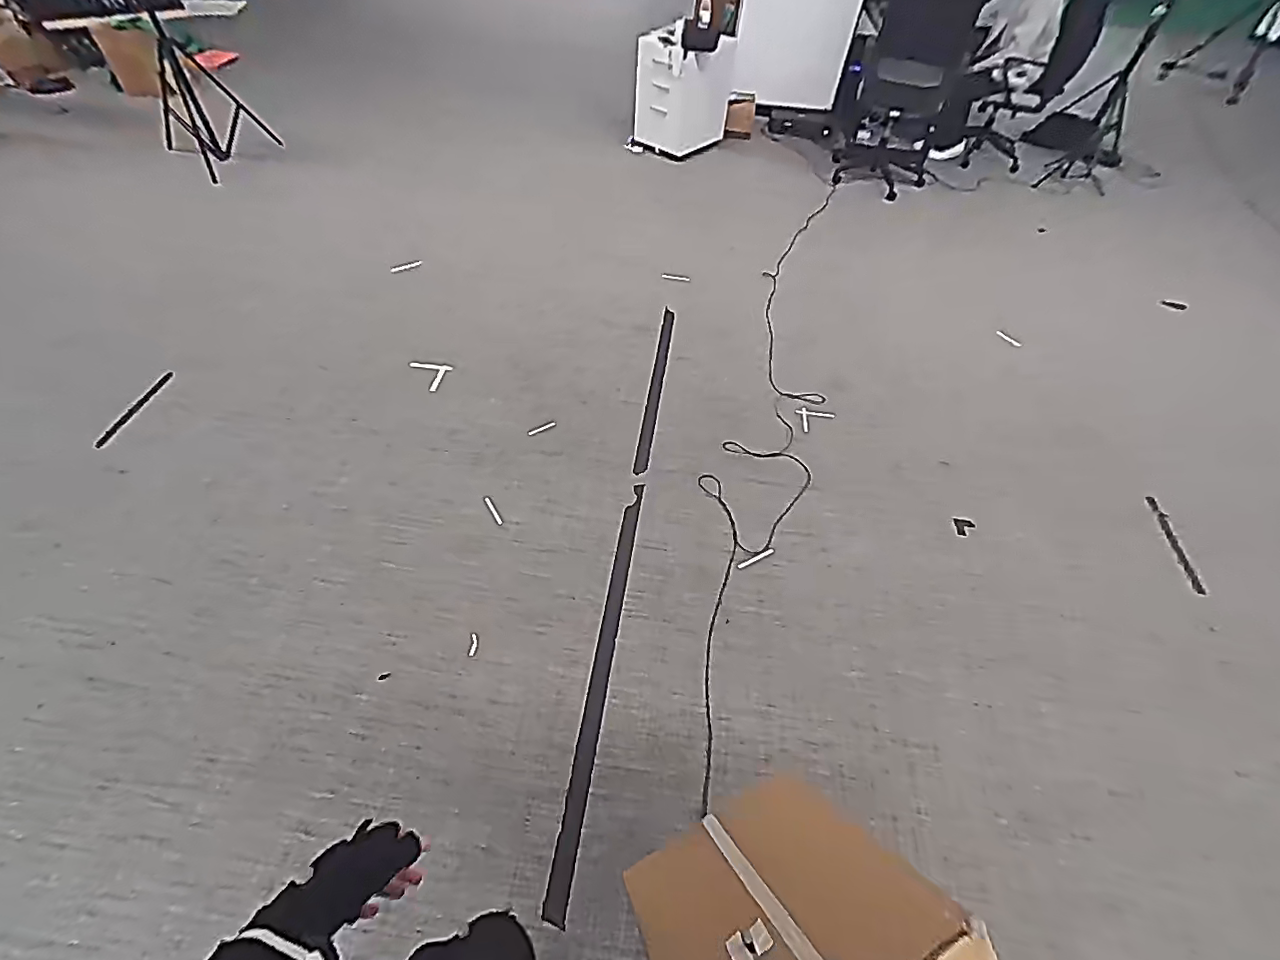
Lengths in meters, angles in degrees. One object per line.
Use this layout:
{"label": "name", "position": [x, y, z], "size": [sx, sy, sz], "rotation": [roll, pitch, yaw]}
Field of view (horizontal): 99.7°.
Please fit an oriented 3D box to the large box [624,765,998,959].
{"label": "large box", "position": [0.218, 0.651, 0.678], "size": [0.320, 0.408, 0.320], "rotation": [-27, 90, -15]}
